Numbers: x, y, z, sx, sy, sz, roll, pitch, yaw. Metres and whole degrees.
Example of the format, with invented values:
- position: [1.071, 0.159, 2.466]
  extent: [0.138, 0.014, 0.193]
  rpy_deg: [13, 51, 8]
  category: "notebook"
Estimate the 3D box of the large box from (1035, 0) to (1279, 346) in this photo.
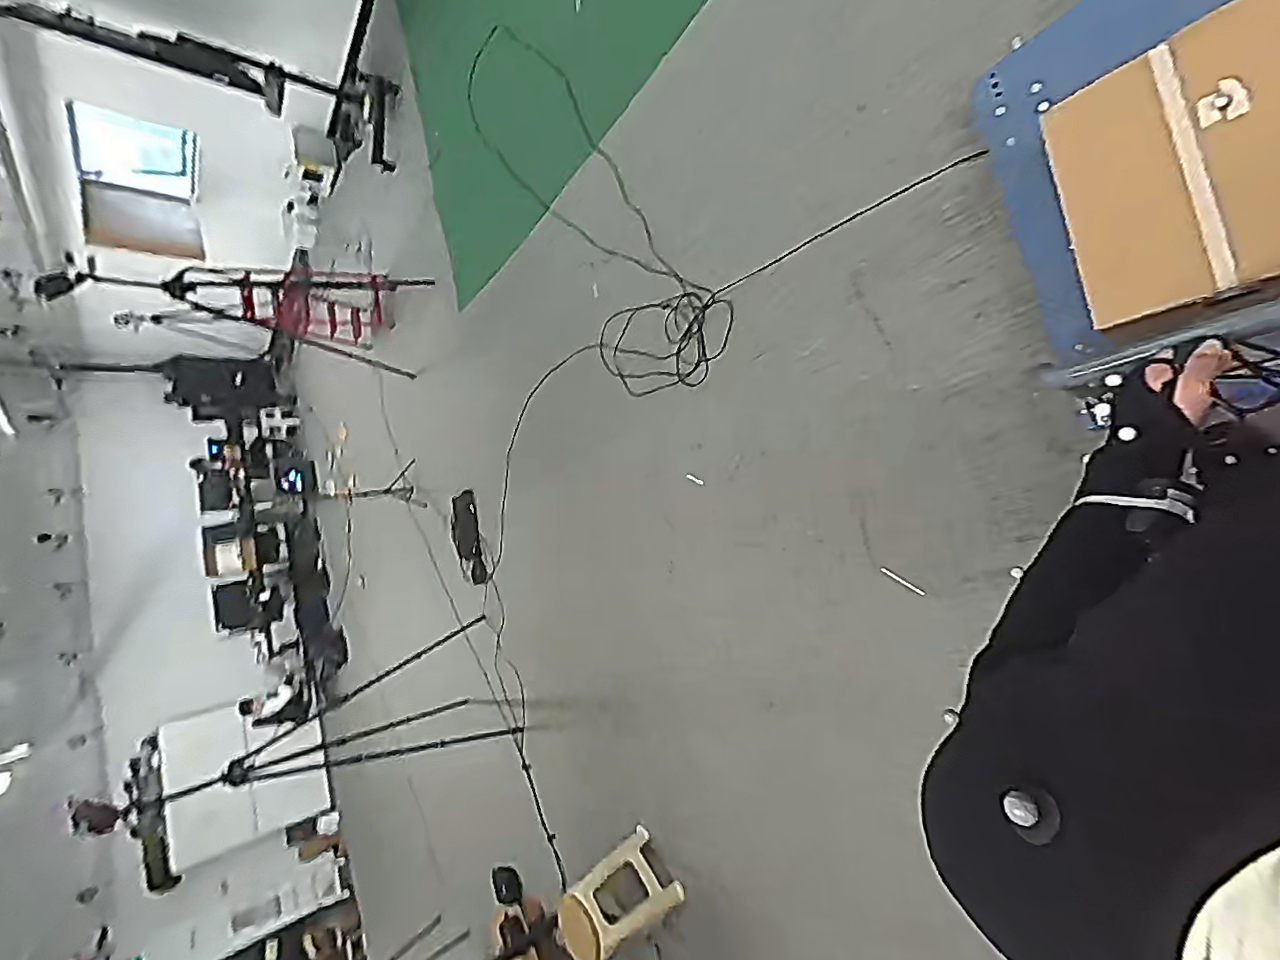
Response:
- position: [0.943, -0.485, 0.922]
  extent: [0.320, 0.320, 0.408]
  rpy_deg: [-16, 82, 46]
  category: "large box"
